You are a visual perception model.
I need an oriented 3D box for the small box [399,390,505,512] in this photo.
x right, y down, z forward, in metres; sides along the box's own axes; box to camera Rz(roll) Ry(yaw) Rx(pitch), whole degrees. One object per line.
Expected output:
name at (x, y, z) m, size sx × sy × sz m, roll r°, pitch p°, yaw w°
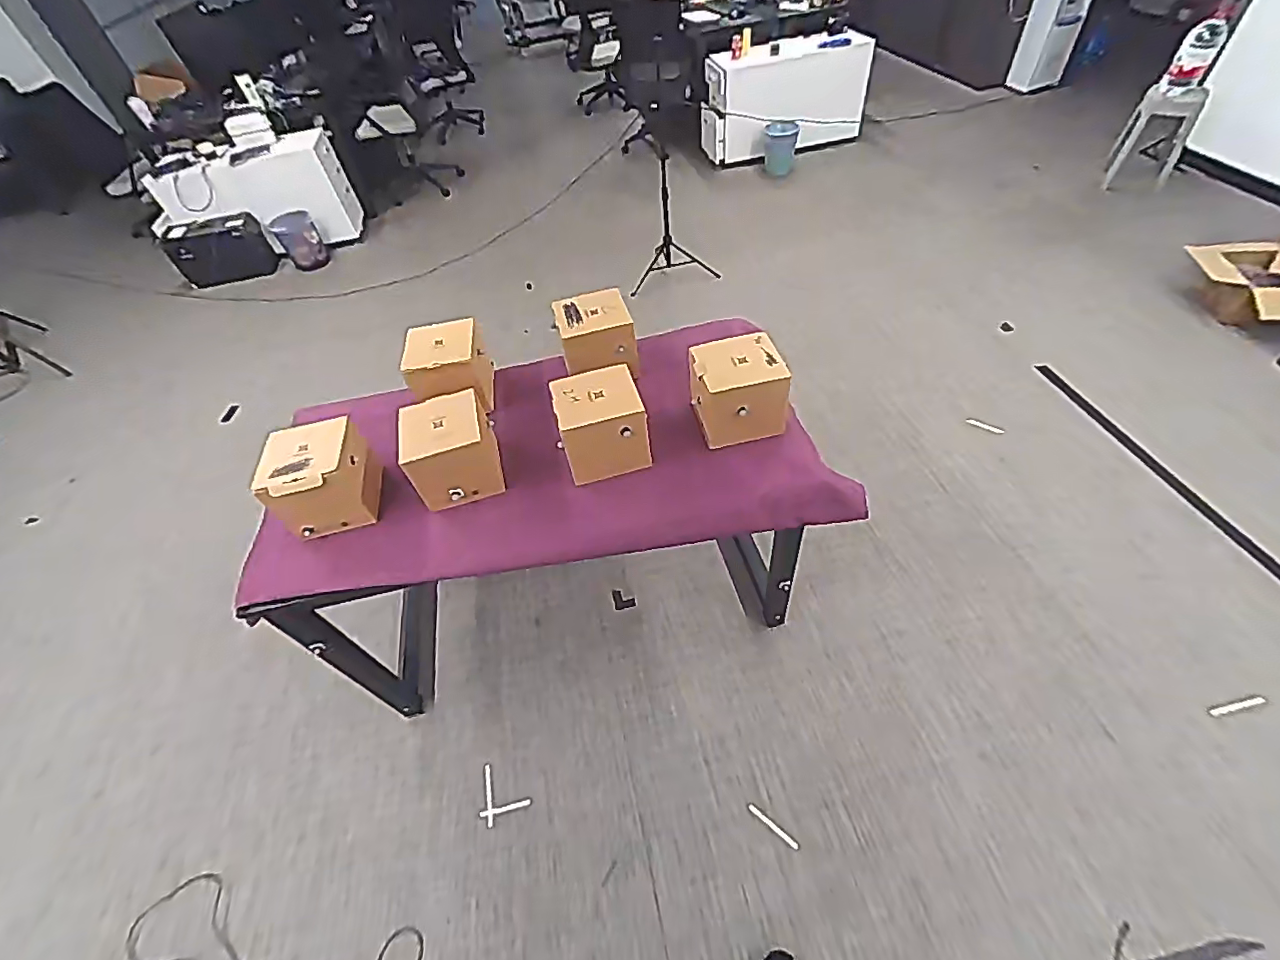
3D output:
small box at (-0.404, -0.061, 1.171) m, size 0.168 × 0.176 × 0.179 m, roll -17°, pitch 50°, yaw -5°

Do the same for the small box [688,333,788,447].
small box at (0.214, -0.194, 1.197) m, size 0.179 × 0.176 × 0.168 m, roll -13°, pitch 50°, yaw -1°

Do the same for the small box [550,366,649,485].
small box at (-0.083, -0.116, 1.172) m, size 0.179 × 0.176 × 0.168 m, roll -15°, pitch 48°, yaw -4°

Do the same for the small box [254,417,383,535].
small box at (-0.671, -0.001, 1.154) m, size 0.168 × 0.176 × 0.179 m, roll -14°, pitch 48°, yaw -5°

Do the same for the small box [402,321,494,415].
small box at (-0.470, -0.269, 1.351) m, size 0.168 × 0.176 × 0.179 m, roll -11°, pitch 50°, yaw -2°
